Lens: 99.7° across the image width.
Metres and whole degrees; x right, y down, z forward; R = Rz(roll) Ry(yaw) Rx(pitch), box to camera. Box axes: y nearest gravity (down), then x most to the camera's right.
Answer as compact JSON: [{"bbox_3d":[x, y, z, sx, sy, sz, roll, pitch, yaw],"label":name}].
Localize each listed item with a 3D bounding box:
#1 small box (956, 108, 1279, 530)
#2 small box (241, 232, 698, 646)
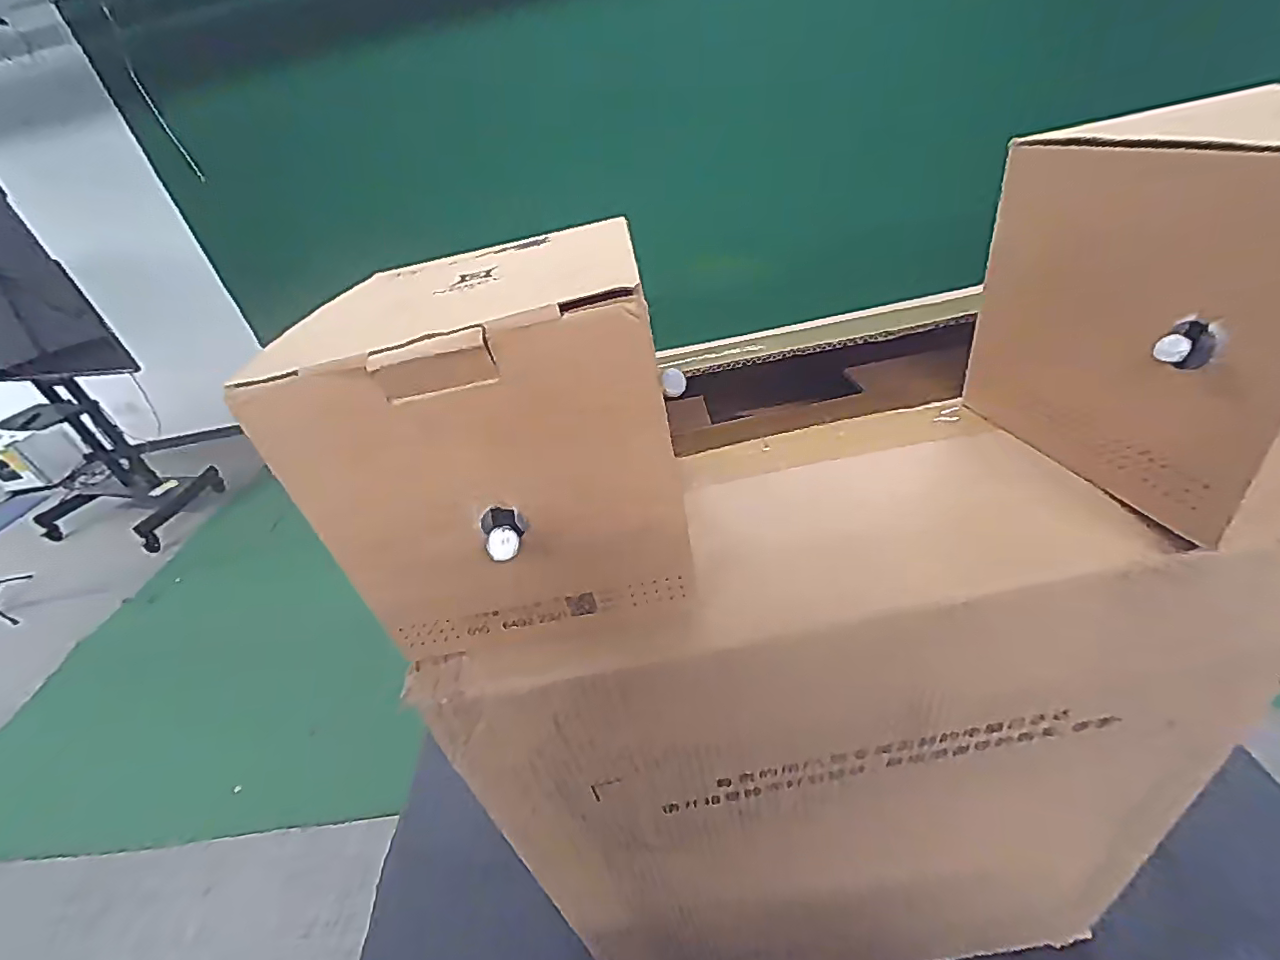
[{"bbox_3d":[0.312,-0.090,0.294,0.168,0.176,0.179,-14,33,-6],"label":"small box"},{"bbox_3d":[-0.066,-0.023,0.317,0.168,0.176,0.179,-11,34,3],"label":"small box"}]
